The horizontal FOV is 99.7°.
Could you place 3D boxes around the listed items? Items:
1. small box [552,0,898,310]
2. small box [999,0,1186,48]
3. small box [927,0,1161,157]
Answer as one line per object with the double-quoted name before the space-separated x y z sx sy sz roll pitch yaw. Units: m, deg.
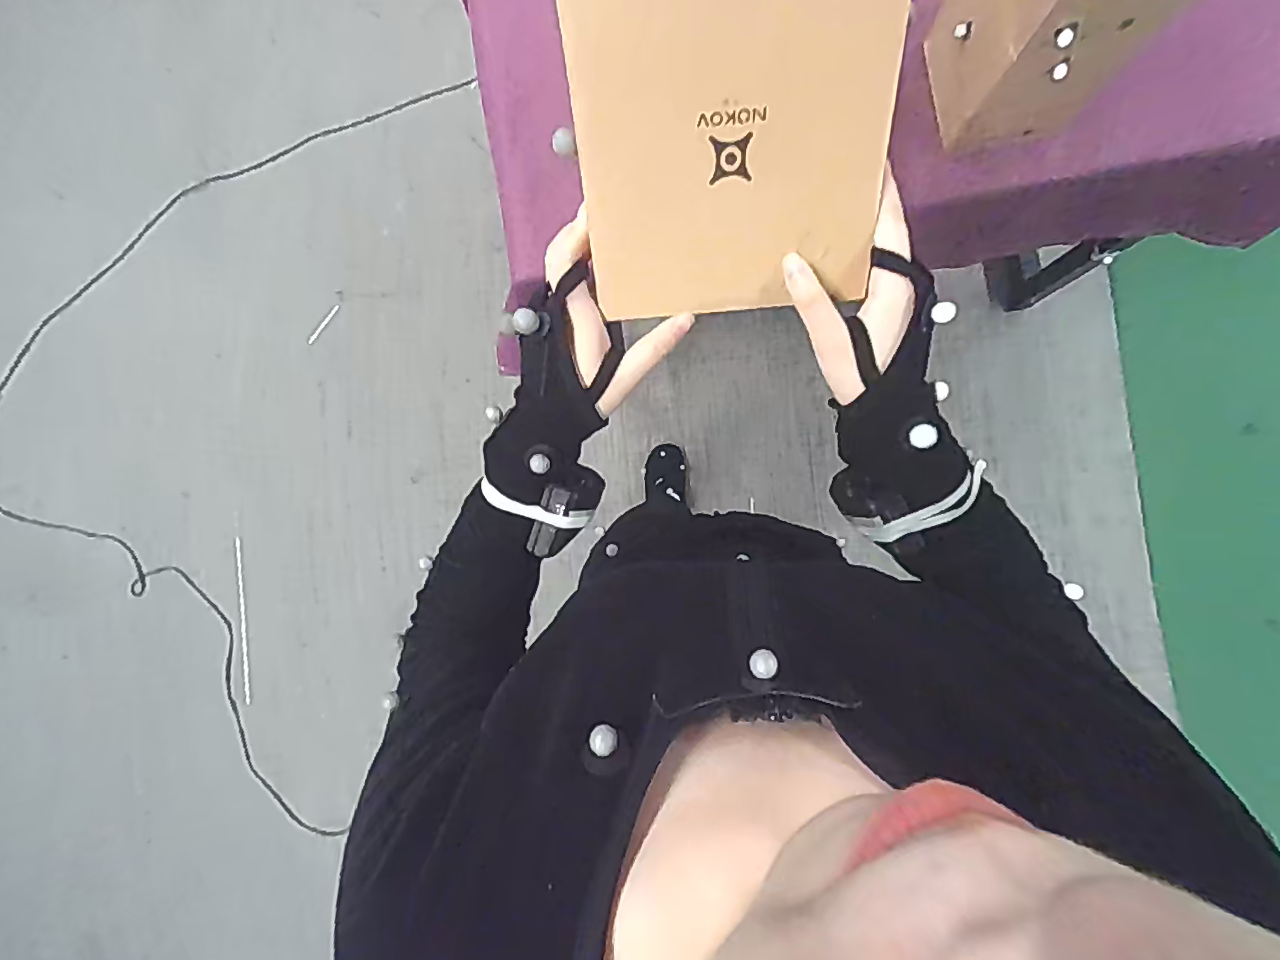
"small box" 0.047 -0.230 0.354 0.168 0.176 0.179 -4 126 4
"small box" 0.481 -0.574 0.532 0.168 0.176 0.179 -9 86 4
"small box" 0.496 -0.563 0.695 0.168 0.176 0.179 -9 85 6
